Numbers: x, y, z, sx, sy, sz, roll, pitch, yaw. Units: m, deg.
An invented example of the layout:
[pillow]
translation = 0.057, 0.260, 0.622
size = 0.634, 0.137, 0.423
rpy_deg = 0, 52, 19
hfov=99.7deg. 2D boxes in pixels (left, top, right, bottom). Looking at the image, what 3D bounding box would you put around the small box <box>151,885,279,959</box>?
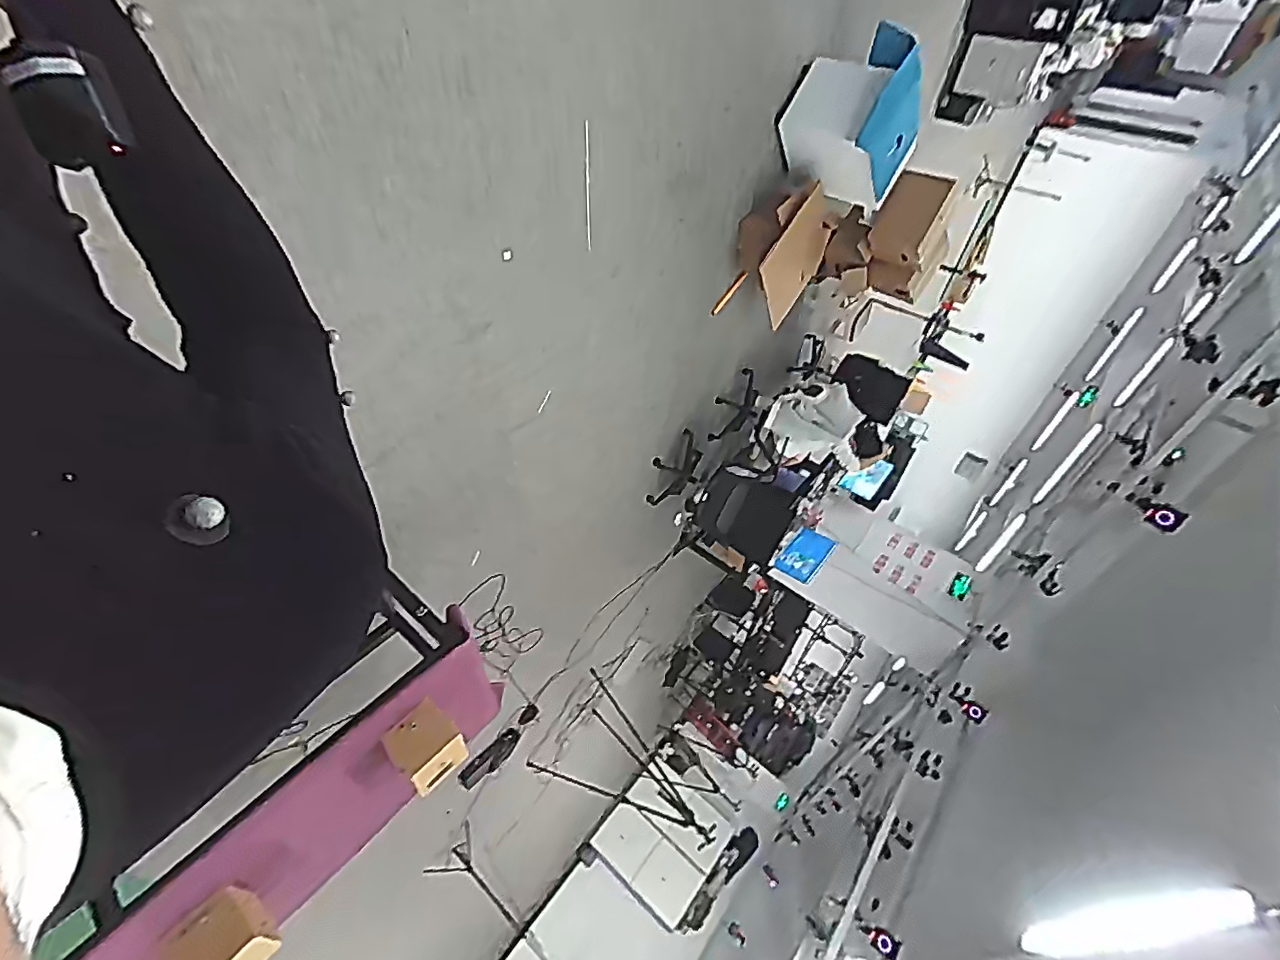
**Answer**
[small box]
translation = -1.046, 1.152, 1.337
size = 0.168, 0.176, 0.179
rpy_deg = -40, 151, -36
